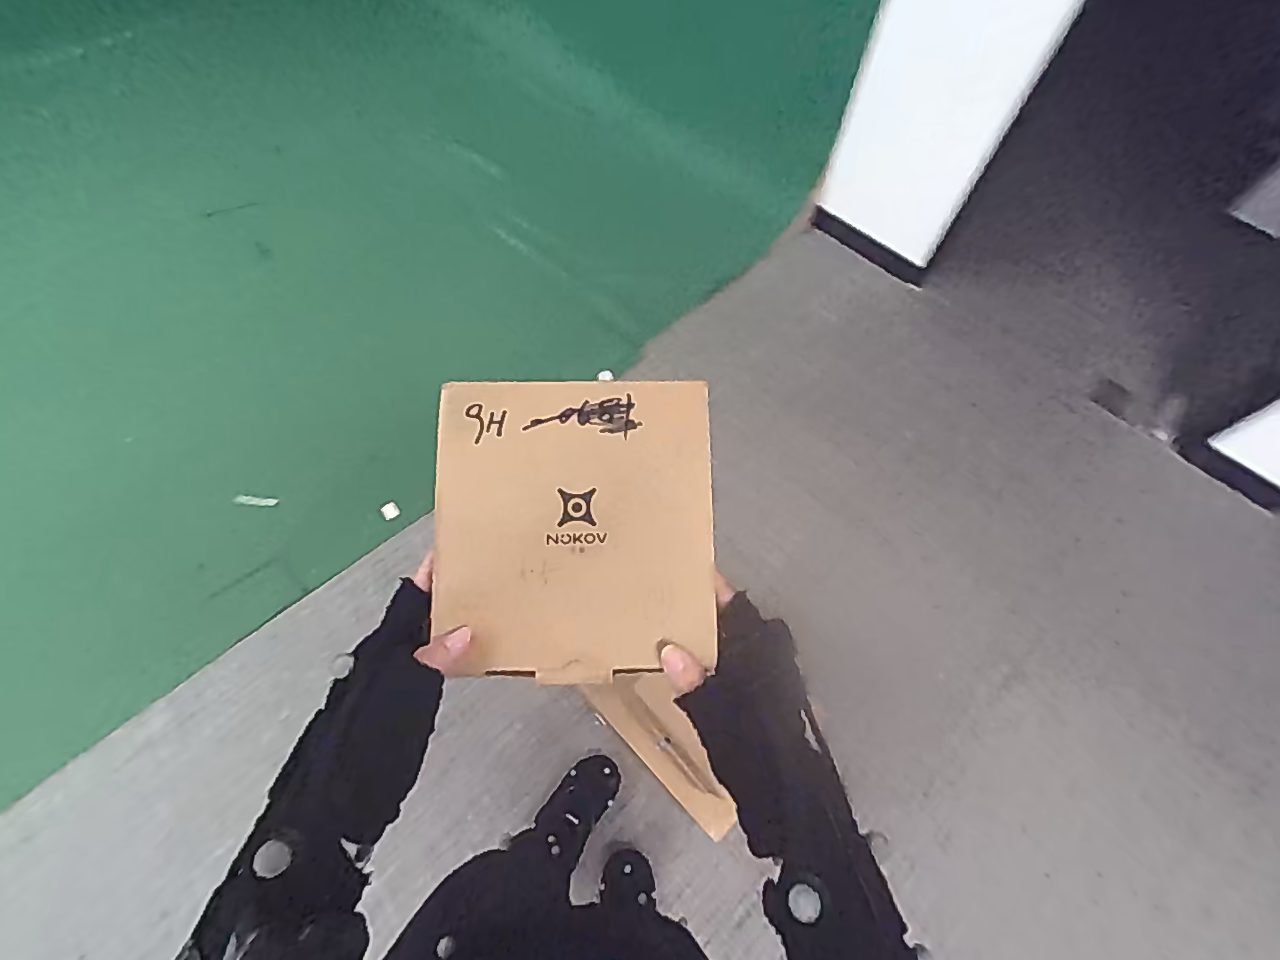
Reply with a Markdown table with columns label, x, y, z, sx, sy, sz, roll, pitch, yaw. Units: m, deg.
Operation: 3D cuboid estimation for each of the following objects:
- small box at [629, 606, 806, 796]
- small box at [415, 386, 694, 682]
| label | x | y | z | sx | sy | sz | roll | pitch | yaw |
| --- | --- | --- | --- | --- | --- | --- | --- | --- | --- |
| small box | 0.102 | 0.313 | 0.779 | 0.168 | 0.176 | 0.179 | -41 | 71 | -18 |
| small box | -0.051 | 0.038 | 0.400 | 0.168 | 0.176 | 0.179 | -1 | 83 | -2 |
